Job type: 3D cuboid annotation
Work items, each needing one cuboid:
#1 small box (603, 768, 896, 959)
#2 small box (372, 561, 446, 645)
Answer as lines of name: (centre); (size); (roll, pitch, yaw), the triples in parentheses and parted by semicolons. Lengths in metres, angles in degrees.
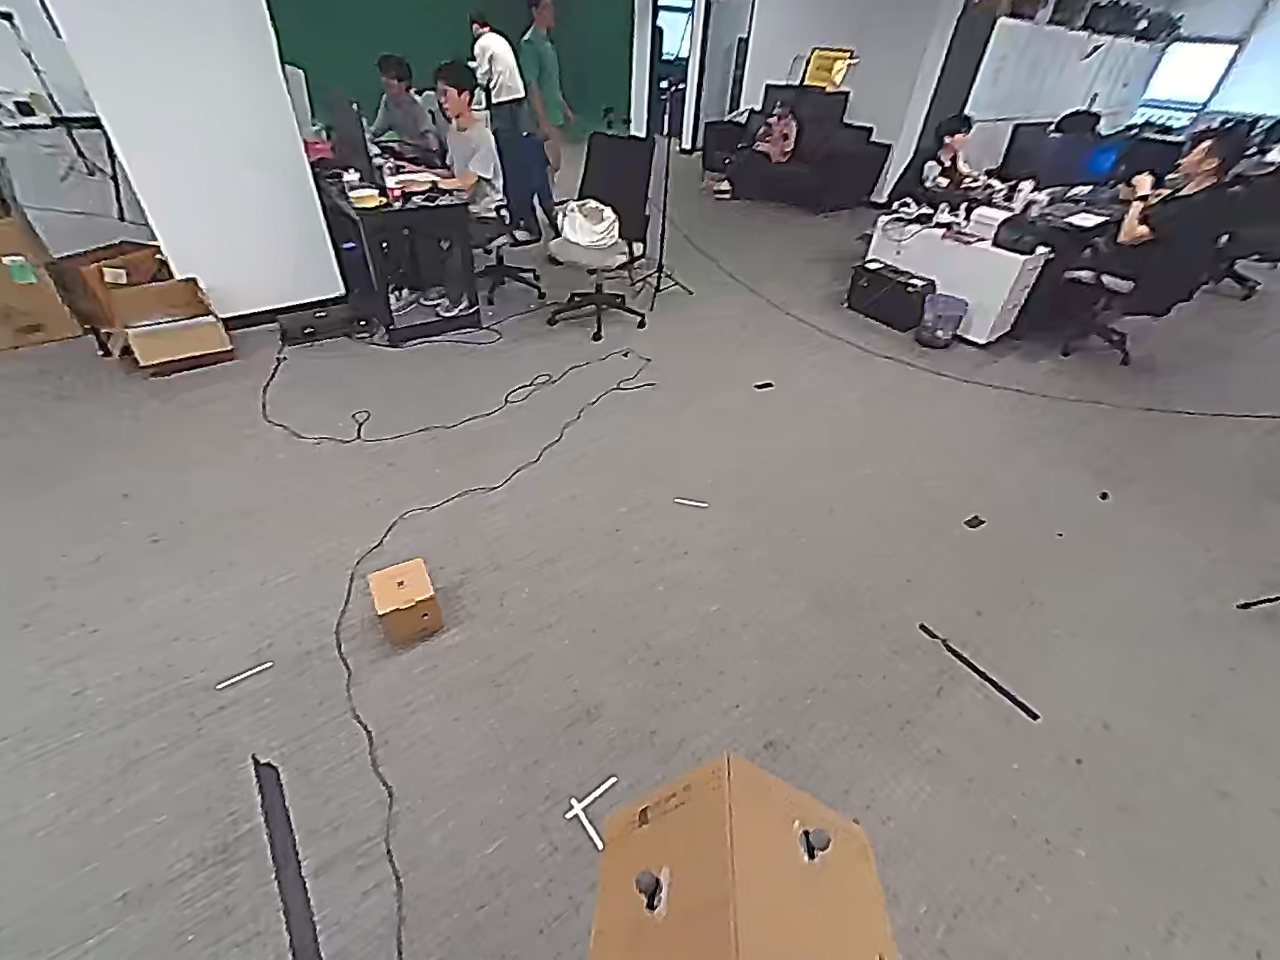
small box: (0.080, 0.360, 0.431); (0.179, 0.168, 0.176); (35, 30, -16)
small box: (-0.727, 0.396, 1.711); (0.168, 0.176, 0.179); (-18, 44, -25)
